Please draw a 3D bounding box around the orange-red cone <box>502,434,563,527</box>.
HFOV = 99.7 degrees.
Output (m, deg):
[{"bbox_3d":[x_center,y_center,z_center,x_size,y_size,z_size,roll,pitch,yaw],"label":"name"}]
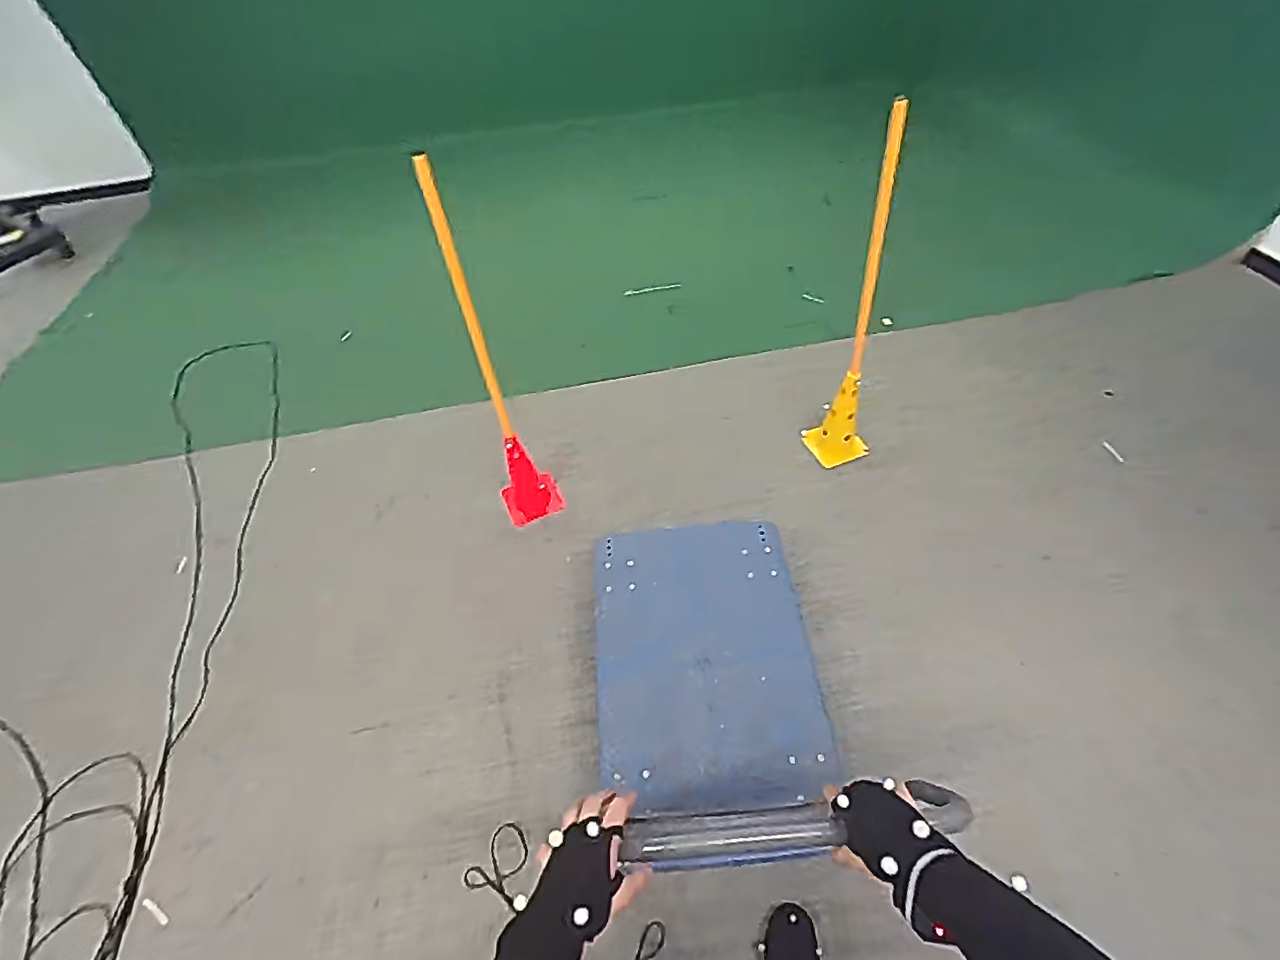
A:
[{"bbox_3d":[-0.421,-0.028,1.909,0.199,0.360,0.198,-23,52,-11],"label":"orange-red cone"}]
